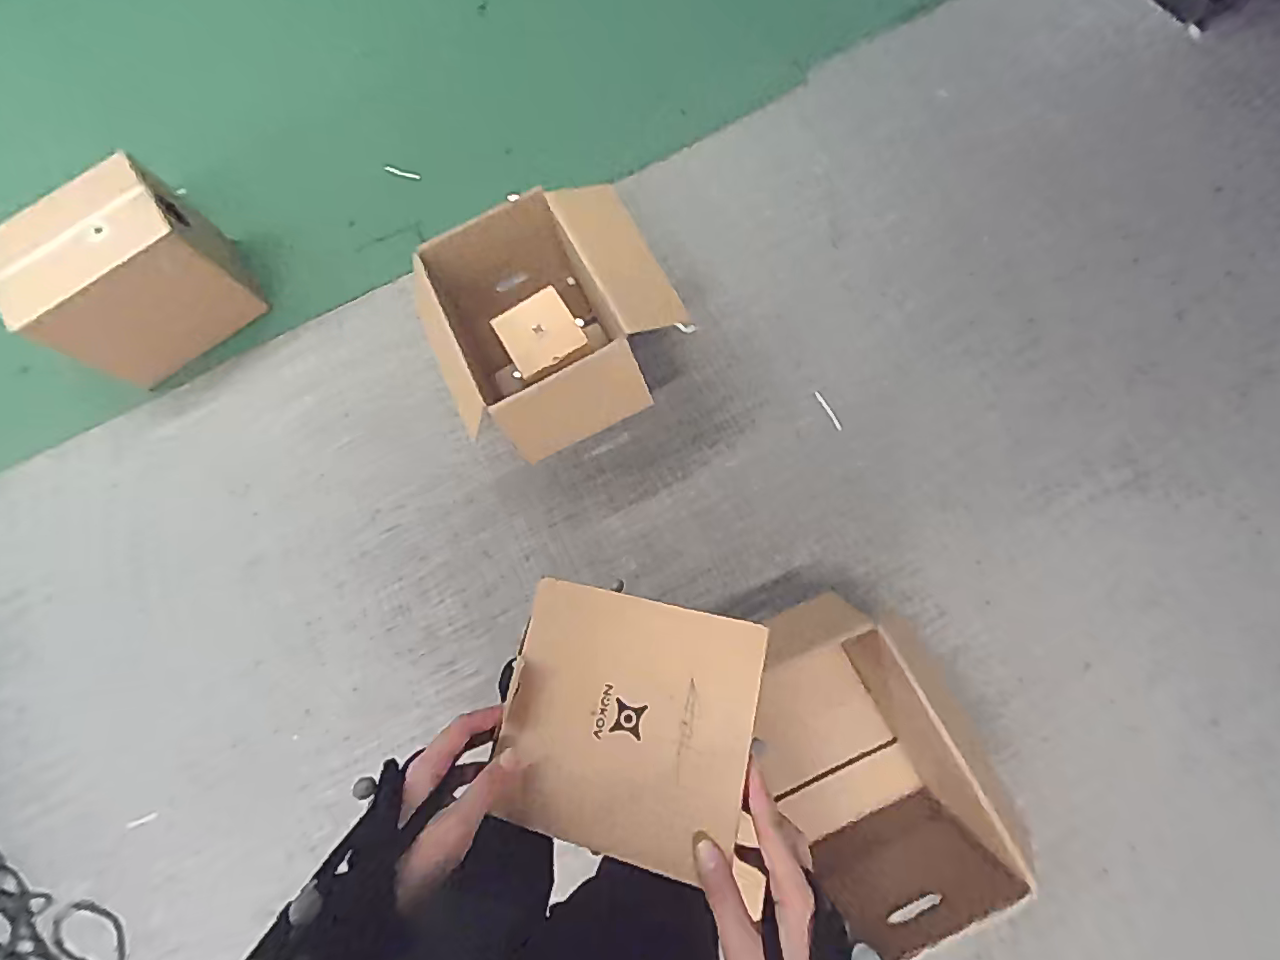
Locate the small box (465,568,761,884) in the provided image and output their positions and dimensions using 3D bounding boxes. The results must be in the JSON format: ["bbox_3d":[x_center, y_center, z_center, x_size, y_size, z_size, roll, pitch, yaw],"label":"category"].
[{"bbox_3d":[-0.006,0.181,0.441,0.179,0.176,0.168,10,74,11],"label":"small box"}]
